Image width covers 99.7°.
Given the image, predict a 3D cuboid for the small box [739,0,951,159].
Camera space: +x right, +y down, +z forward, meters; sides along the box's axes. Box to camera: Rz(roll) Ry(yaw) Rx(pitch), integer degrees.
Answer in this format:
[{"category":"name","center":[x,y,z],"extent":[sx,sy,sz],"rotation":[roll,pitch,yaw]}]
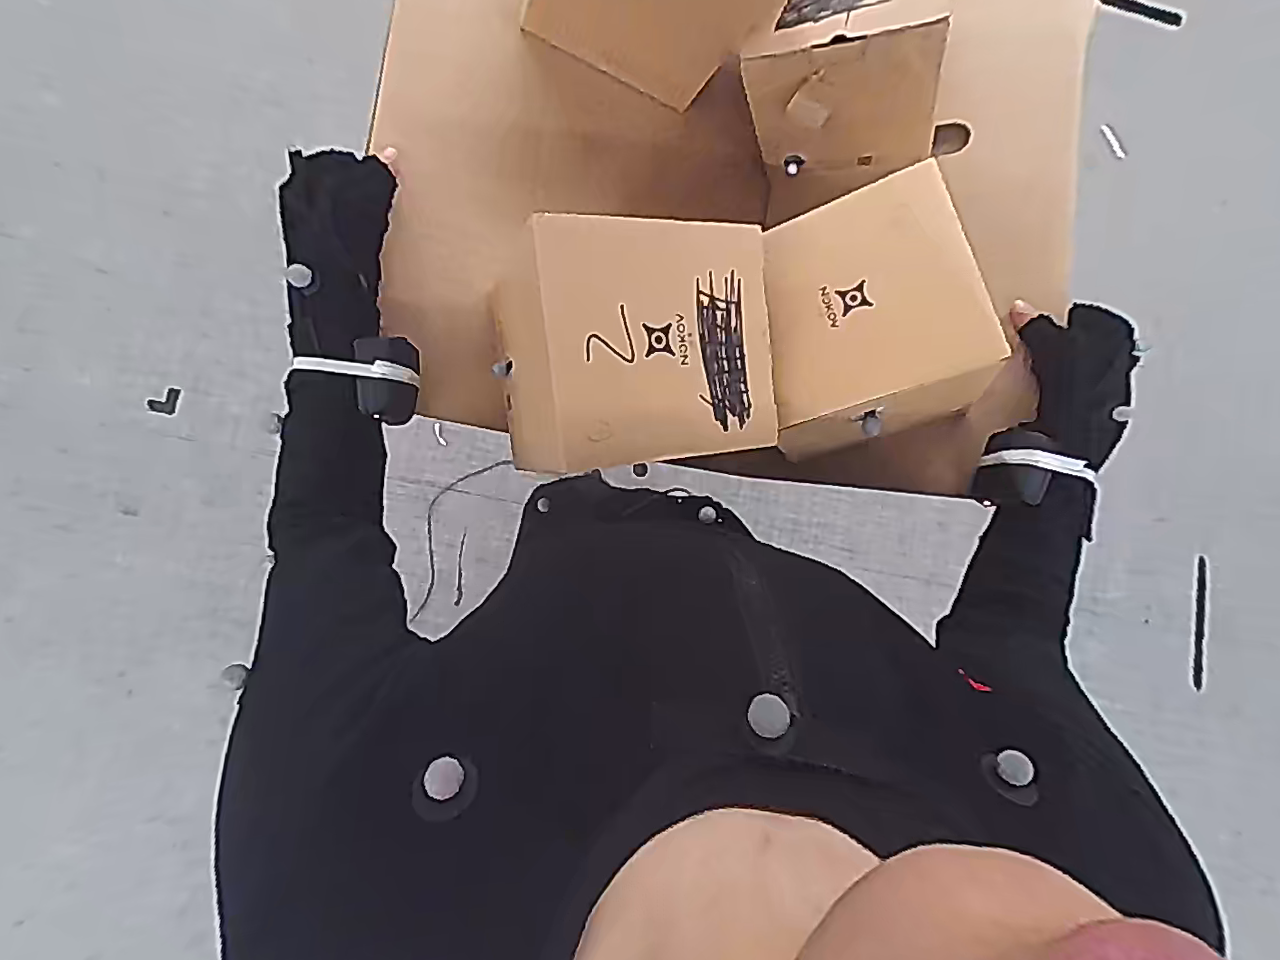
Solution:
[{"category":"small box","center":[0.206,-0.441,0.524],"extent":[0.168,0.176,0.179],"rotation":[8,85,23]}]
